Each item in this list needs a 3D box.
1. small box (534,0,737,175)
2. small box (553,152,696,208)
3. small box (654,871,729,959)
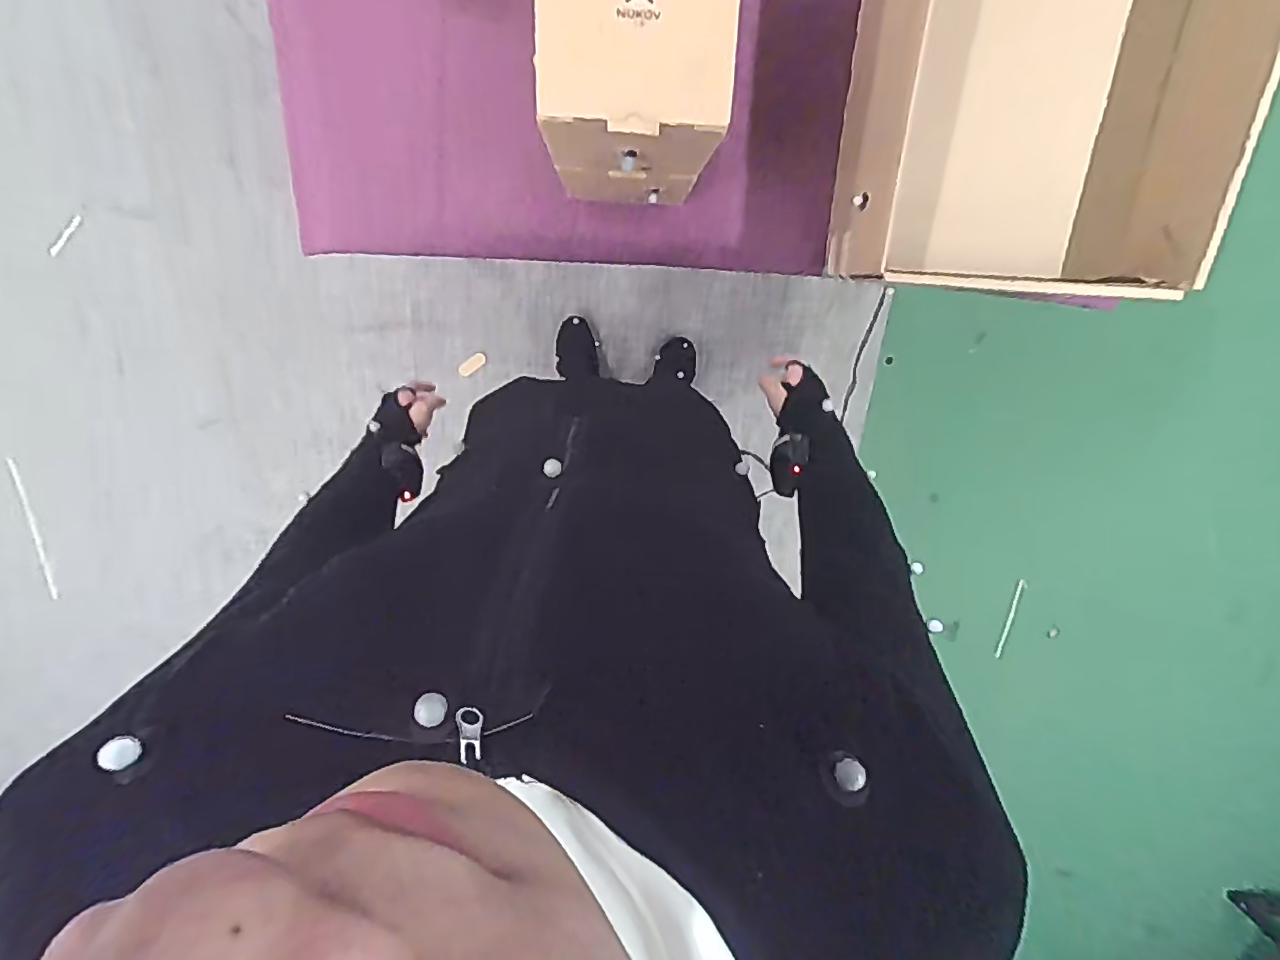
[{"bbox_3d":[-0.006,-0.403,0.510,0.168,0.176,0.179,2,108,-4],"label":"small box"},{"bbox_3d":[-0.014,-0.448,0.667,0.168,0.176,0.179,2,106,-4],"label":"small box"},{"bbox_3d":[0.156,1.383,1.694,0.179,0.176,0.168,-29,106,7],"label":"small box"}]
